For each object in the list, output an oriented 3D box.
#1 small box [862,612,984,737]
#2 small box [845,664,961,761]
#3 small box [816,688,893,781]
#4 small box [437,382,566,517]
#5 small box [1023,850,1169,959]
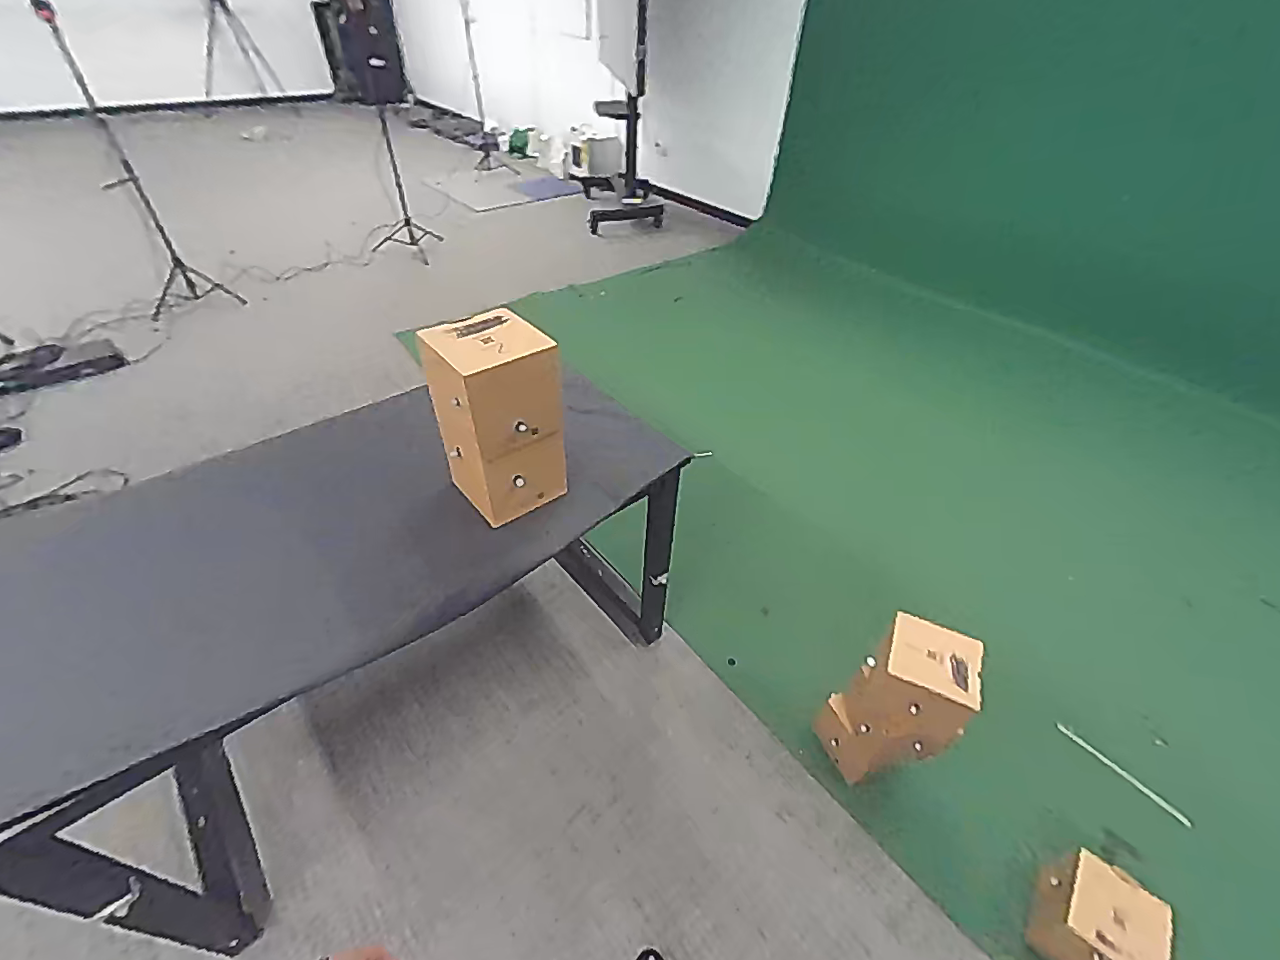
[{"bbox_3d":[0.604,0.424,1.163,0.179,0.176,0.168,21,47,19],"label":"small box"},{"bbox_3d":[0.602,0.548,1.271,0.179,0.176,0.168,1,45,-4],"label":"small box"},{"bbox_3d":[0.579,0.646,1.402,0.179,0.176,0.168,-15,46,-19],"label":"small box"},{"bbox_3d":[-0.254,-0.053,1.024,0.168,0.176,0.179,-28,50,-29],"label":"small box"},{"bbox_3d":[0.941,0.929,1.126,0.168,0.176,0.179,33,50,27],"label":"small box"}]
